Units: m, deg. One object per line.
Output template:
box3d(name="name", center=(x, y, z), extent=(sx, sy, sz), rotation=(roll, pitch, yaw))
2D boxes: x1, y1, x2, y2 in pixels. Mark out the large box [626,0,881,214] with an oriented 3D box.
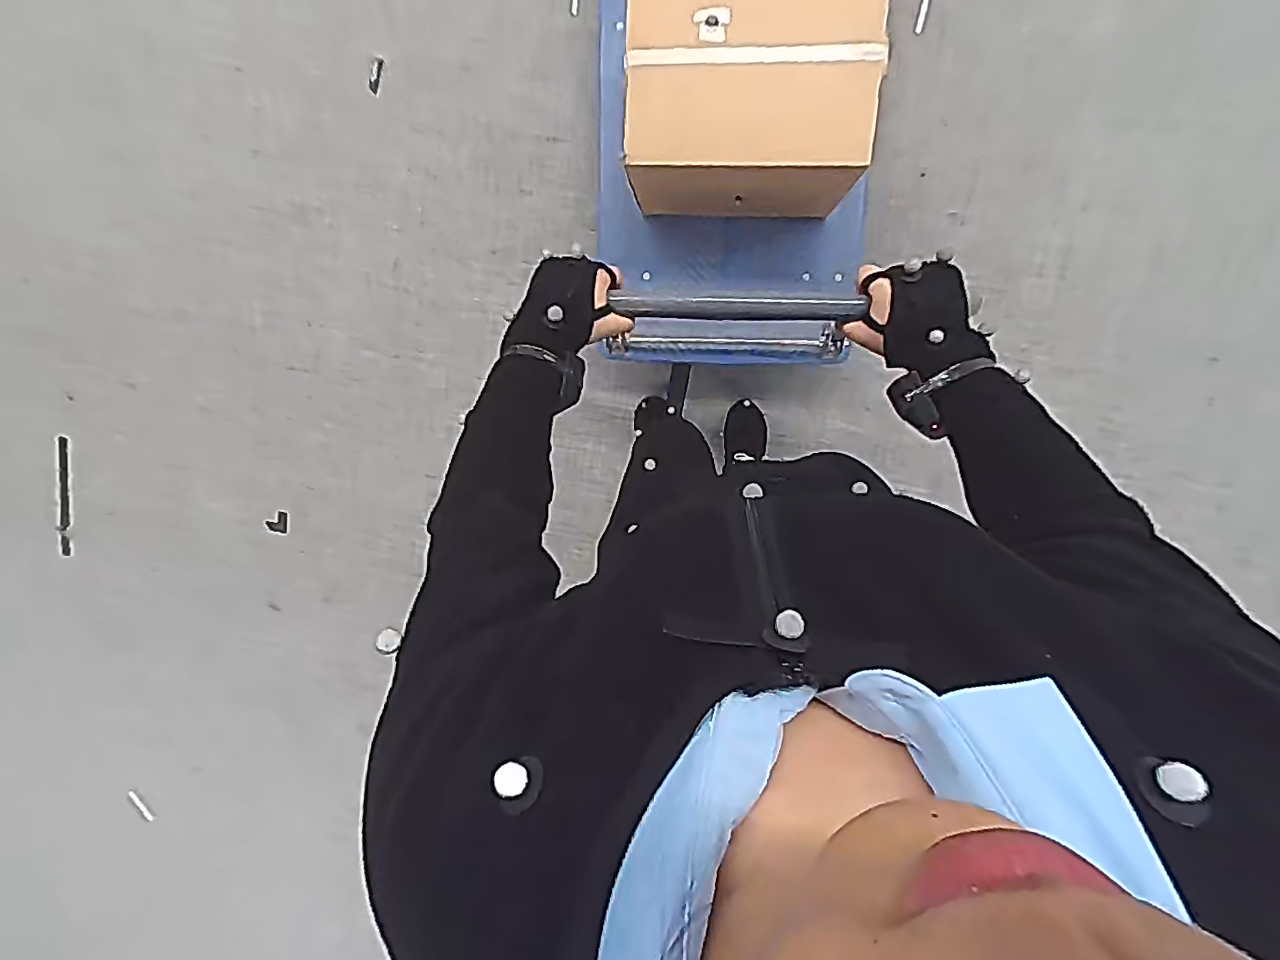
box3d(name="large box", center=(0.197, -0.706, 1.020), extent=(0.408, 0.320, 0.320), rotation=(4, 101, 7))
